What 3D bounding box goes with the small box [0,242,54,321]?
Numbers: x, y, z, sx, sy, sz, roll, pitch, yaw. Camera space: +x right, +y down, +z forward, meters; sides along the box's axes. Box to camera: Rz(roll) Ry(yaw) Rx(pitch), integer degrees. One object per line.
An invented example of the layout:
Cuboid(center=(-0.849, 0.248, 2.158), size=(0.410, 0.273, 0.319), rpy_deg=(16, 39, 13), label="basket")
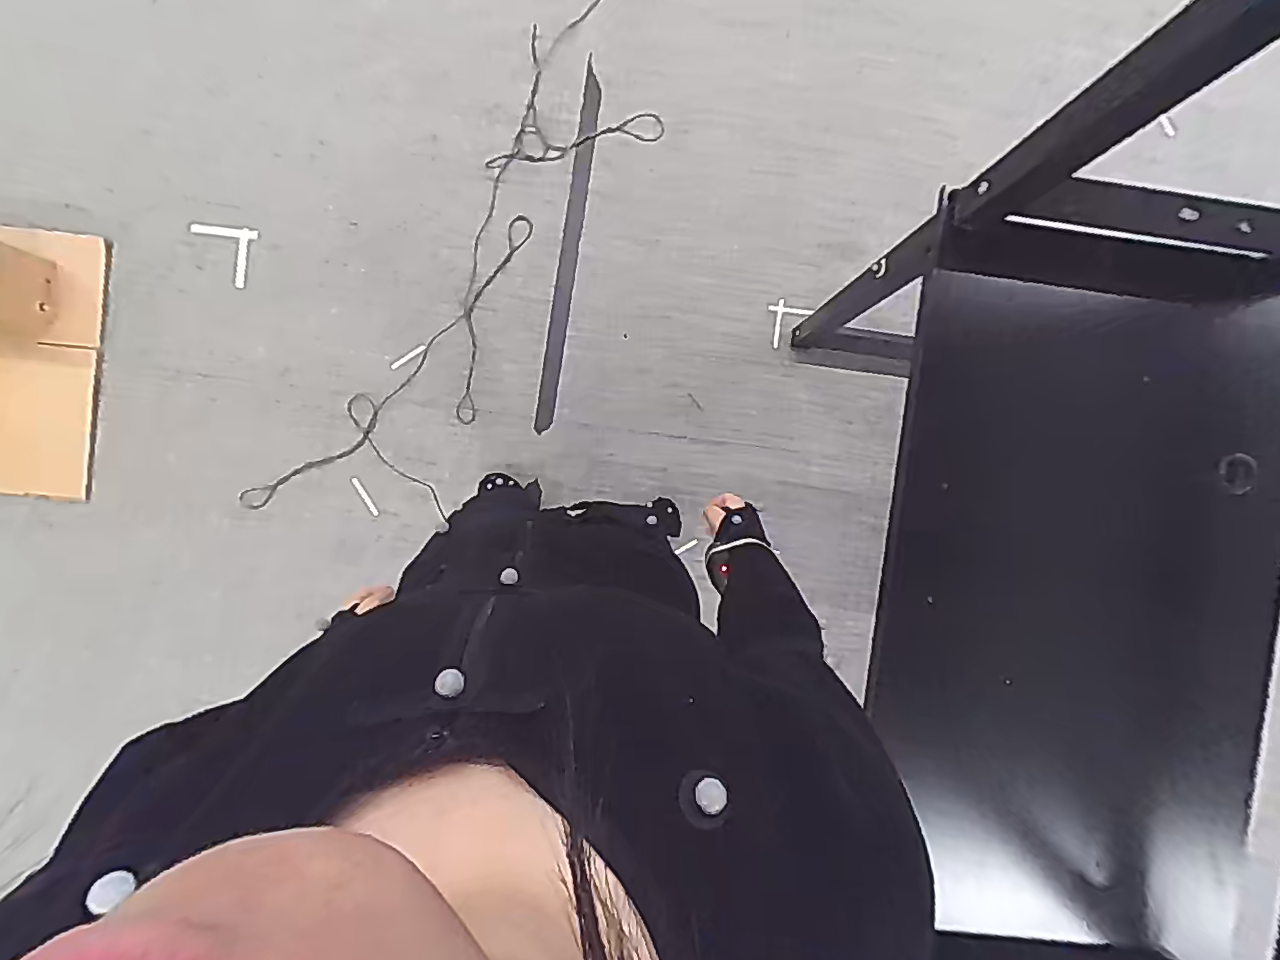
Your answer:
Cuboid(center=(-1.606, -0.495, 1.325), size=(0.179, 0.176, 0.168), rpy_deg=(2, 91, -2), label="small box")
